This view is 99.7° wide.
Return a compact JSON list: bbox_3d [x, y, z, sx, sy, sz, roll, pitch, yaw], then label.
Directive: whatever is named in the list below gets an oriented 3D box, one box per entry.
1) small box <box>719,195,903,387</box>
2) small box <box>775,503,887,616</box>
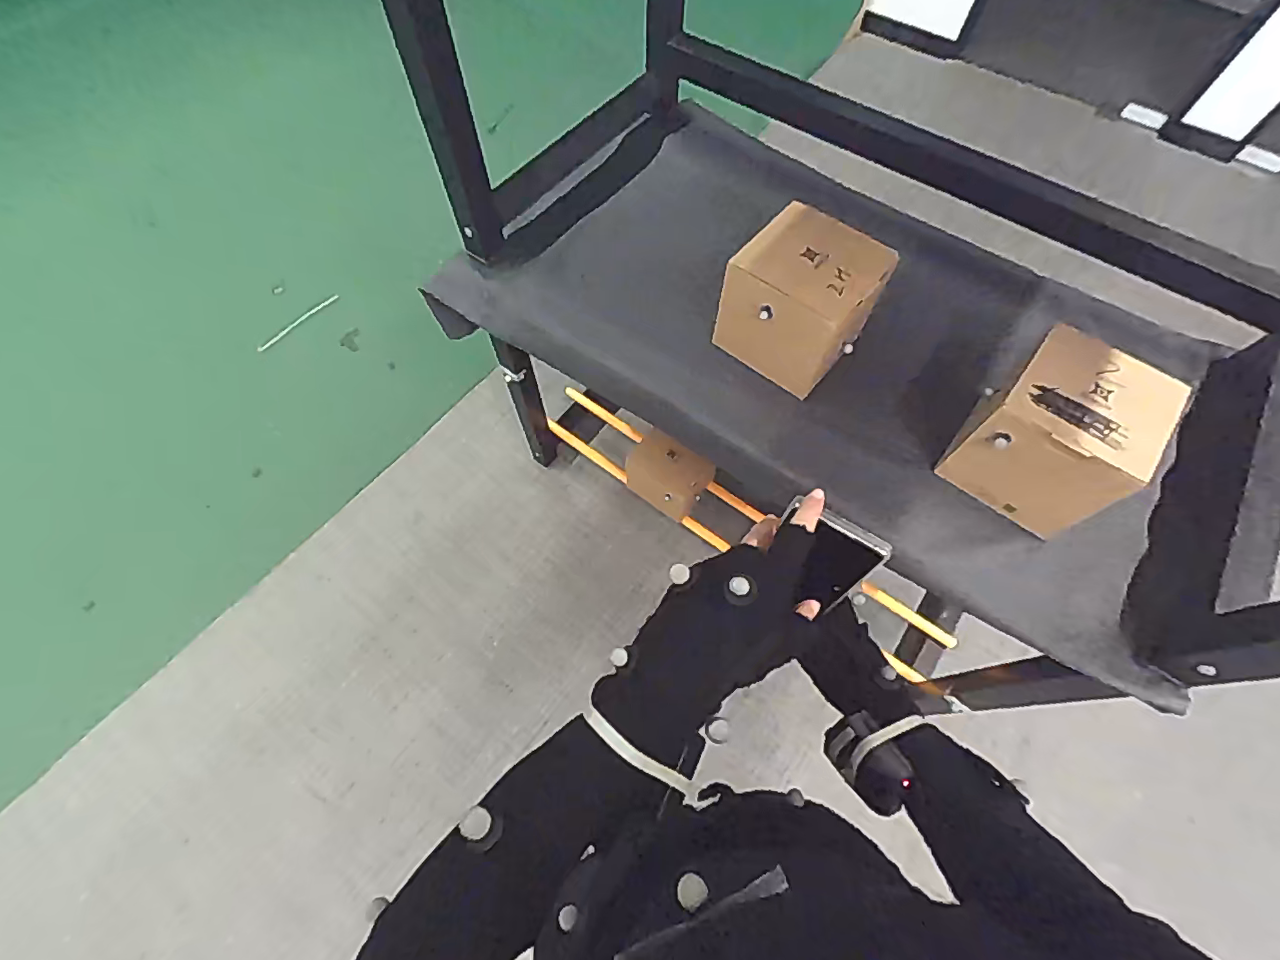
[{"bbox_3d":[0.236,-0.269,0.795,0.179,0.176,0.168,37,70,16],"label":"small box"},{"bbox_3d":[0.434,0.193,1.264,0.168,0.176,0.179,38,70,16],"label":"small box"}]
